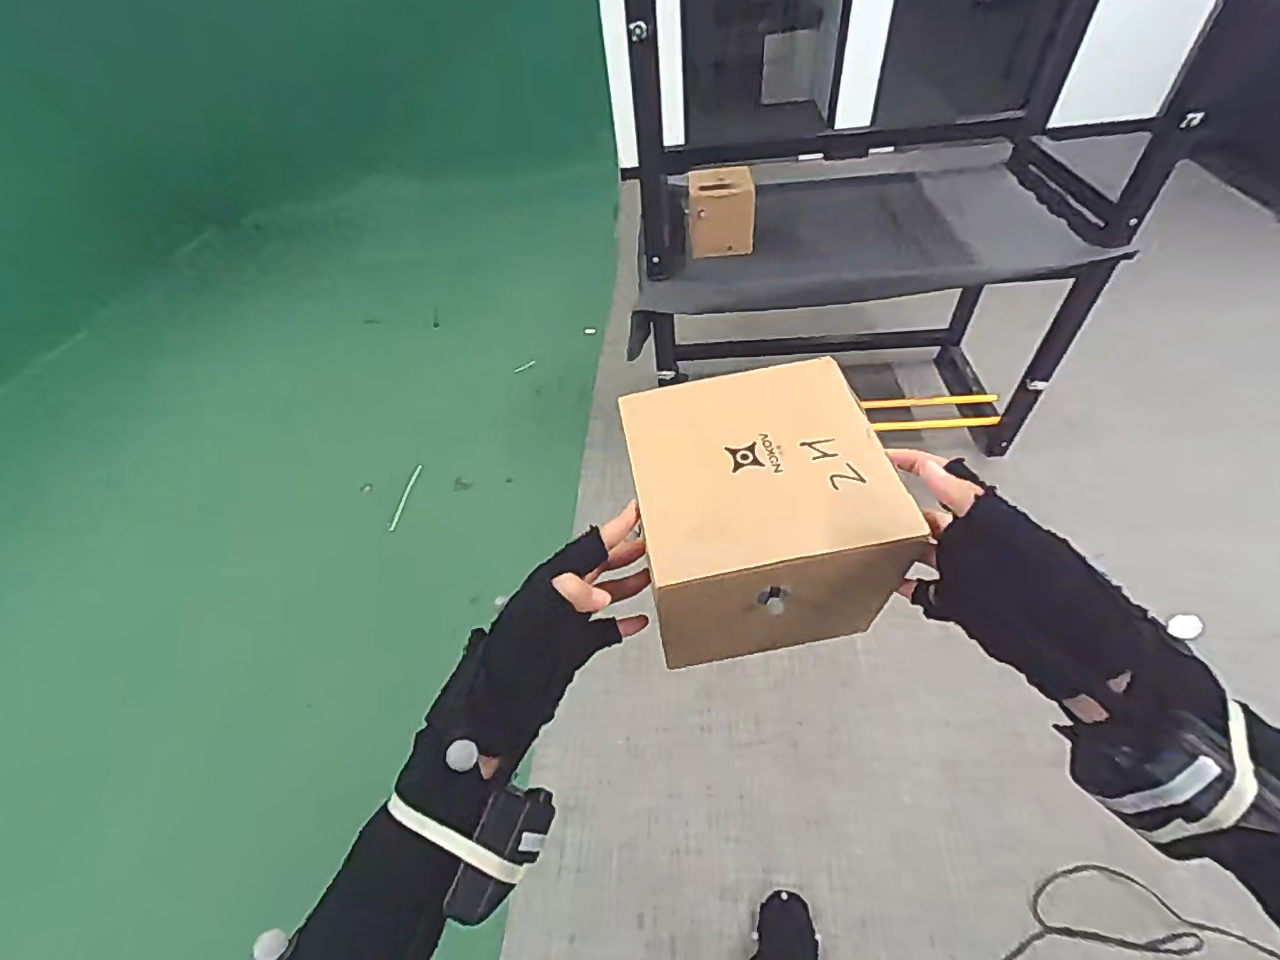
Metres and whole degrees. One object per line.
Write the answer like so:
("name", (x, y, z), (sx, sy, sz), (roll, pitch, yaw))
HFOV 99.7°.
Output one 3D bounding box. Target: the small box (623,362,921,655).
("small box", (0.091, 0.031, 0.451), (0.179, 0.176, 0.168), (-10, 55, -2))
